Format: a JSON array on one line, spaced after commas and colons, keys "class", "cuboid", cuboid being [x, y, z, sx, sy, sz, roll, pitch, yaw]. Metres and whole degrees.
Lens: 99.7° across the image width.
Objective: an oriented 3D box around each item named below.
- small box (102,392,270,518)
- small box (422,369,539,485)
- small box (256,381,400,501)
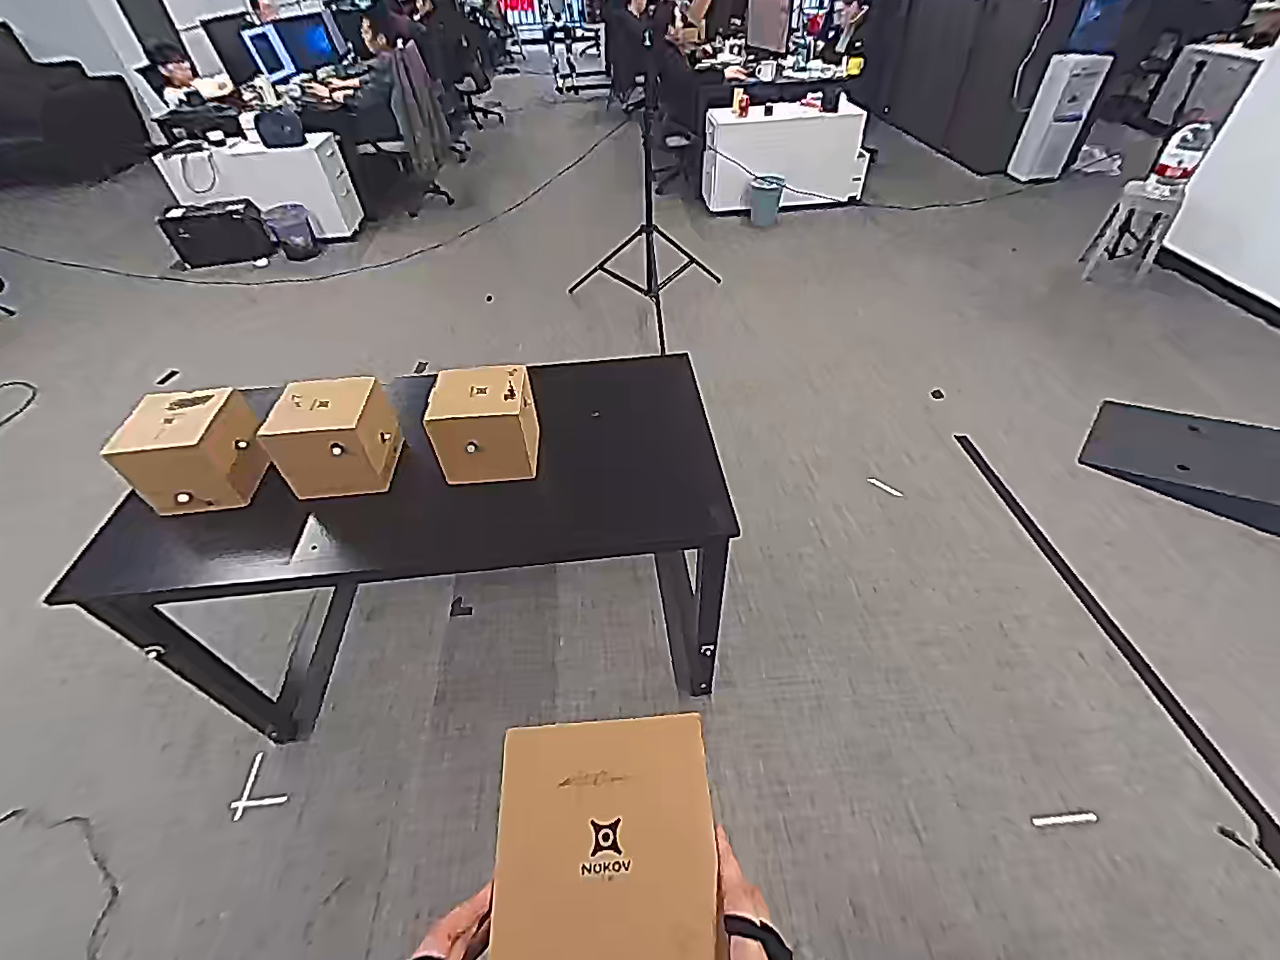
[{"class": "small box", "cuboid": [-0.868, -0.049, 1.062, 0.168, 0.176, 0.179, -7, 46, -4]}, {"class": "small box", "cuboid": [-0.311, -0.104, 1.091, 0.179, 0.176, 0.168, -5, 45, -1]}, {"class": "small box", "cuboid": [-0.602, -0.076, 1.076, 0.179, 0.176, 0.168, -5, 44, -3]}]
